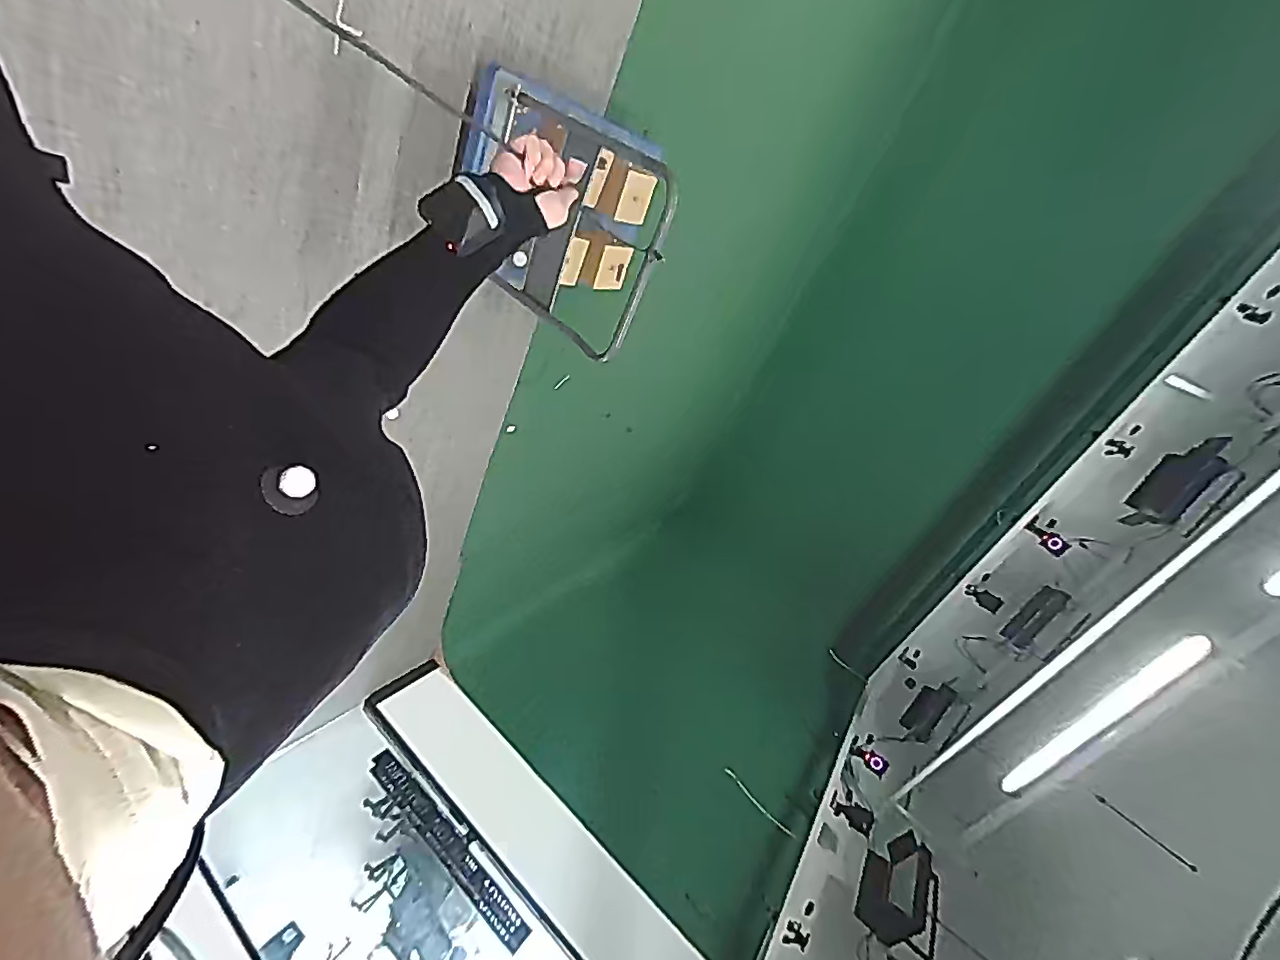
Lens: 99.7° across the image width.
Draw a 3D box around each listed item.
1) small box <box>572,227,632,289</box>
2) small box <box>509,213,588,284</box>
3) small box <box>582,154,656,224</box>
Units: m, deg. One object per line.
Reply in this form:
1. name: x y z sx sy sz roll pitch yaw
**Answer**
1. small box: -0.168 -0.853 2.077 0.179 0.176 0.168 -24 145 -50
2. small box: -0.317 -0.795 1.860 0.179 0.176 0.168 -19 142 -54
3. small box: -0.081 -1.047 1.943 0.179 0.176 0.168 -25 147 -51
